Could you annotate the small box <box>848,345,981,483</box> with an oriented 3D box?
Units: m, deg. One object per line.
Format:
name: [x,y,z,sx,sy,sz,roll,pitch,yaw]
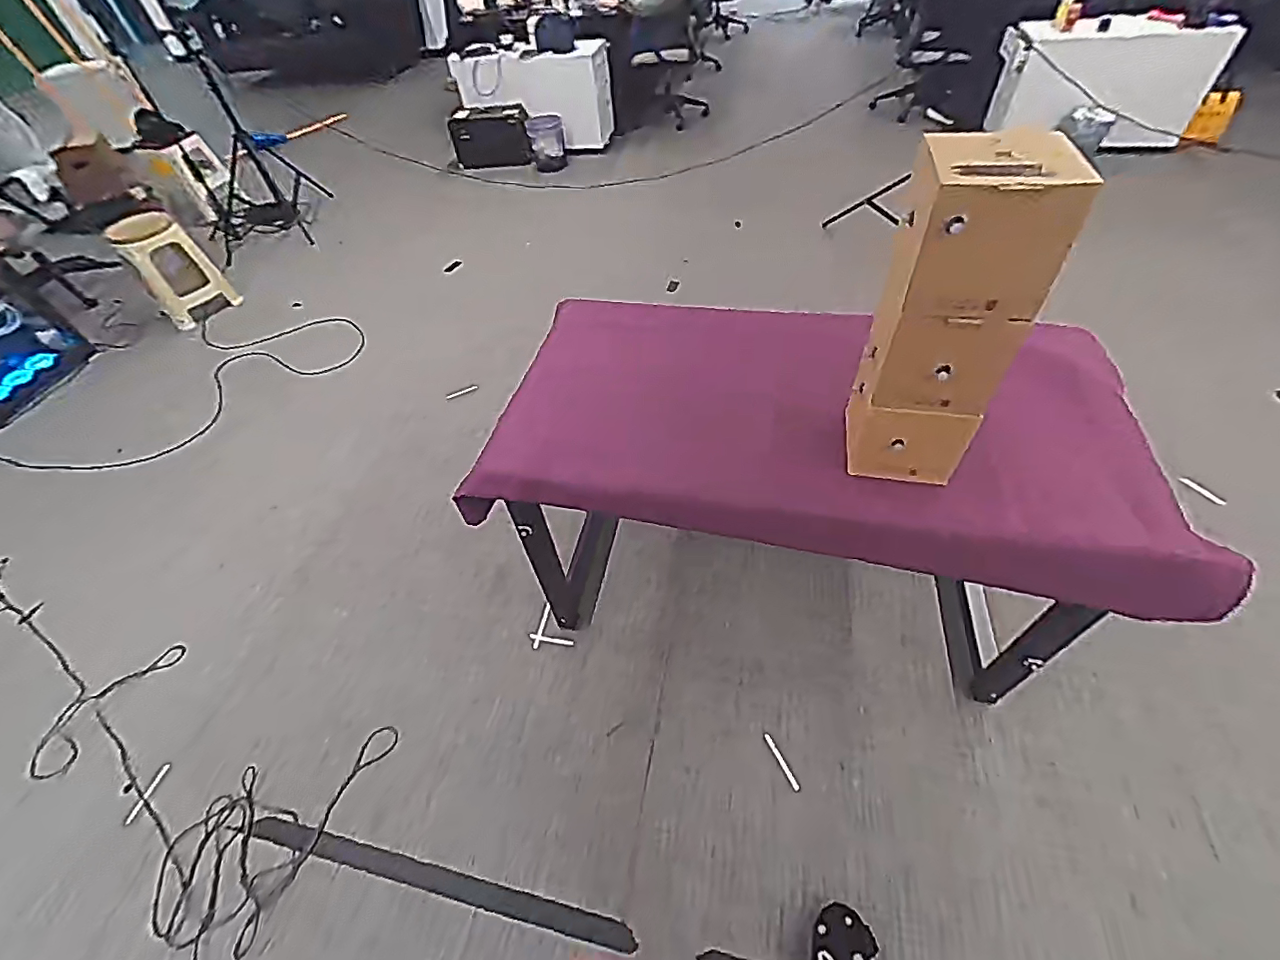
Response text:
small box: [0.471,-0.115,0.954,0.168,0.176,0.179,7,50,12]

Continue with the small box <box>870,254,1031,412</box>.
small box: [0.460,-0.224,0.833,0.168,0.176,0.179,7,51,12]
